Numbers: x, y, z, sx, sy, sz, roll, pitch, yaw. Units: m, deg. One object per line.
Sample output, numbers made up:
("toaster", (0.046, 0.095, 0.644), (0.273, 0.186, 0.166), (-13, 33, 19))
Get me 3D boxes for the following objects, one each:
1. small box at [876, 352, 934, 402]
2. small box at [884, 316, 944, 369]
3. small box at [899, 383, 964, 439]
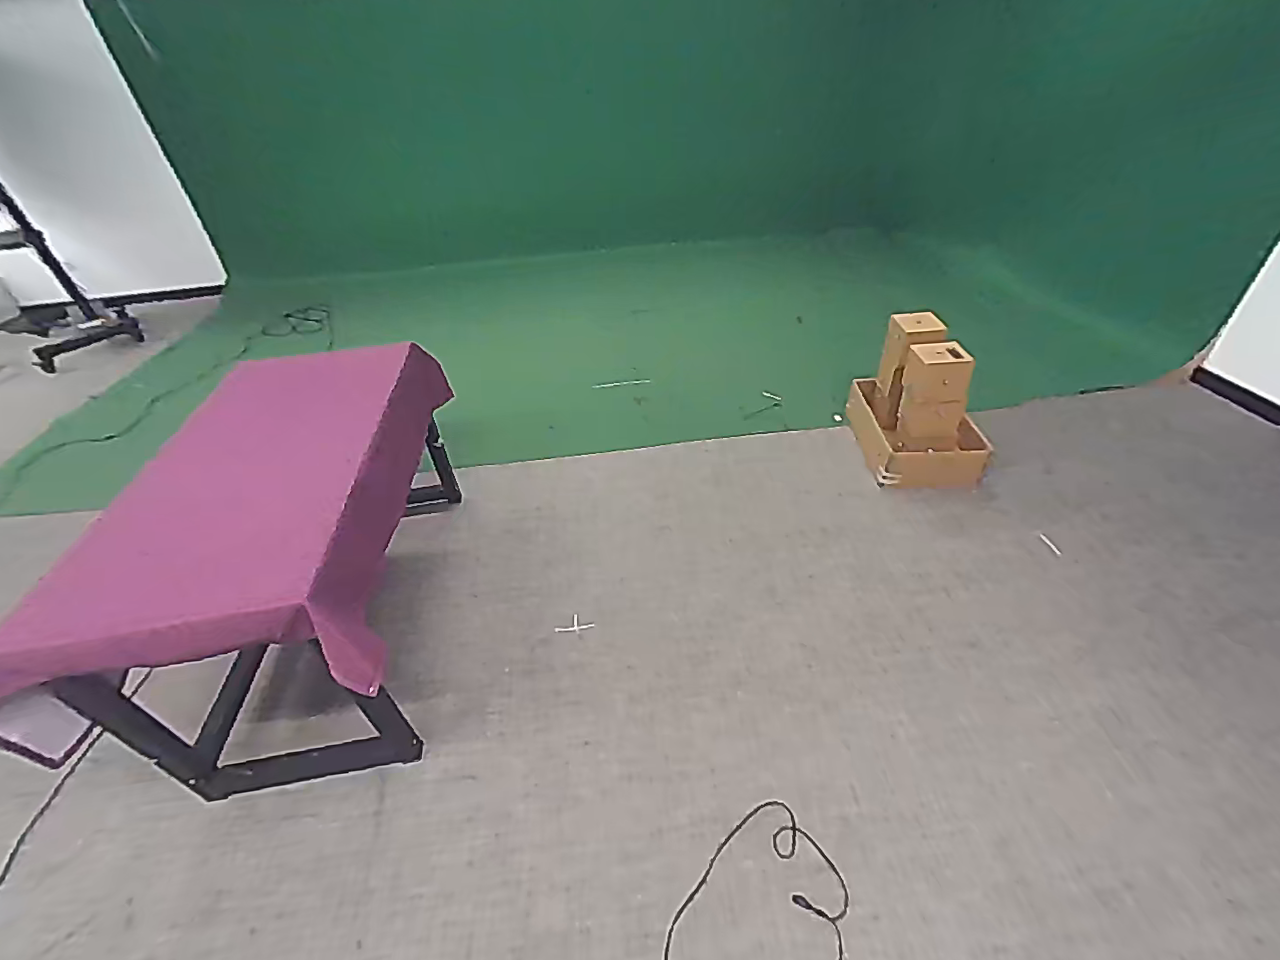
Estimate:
("small box", (1.186, -0.467, 2.431), (0.179, 0.176, 0.168), (-3, 40, 5))
("small box", (1.168, -0.584, 2.316), (0.168, 0.176, 0.179), (-3, 40, 4))
("small box", (1.172, -0.276, 2.192), (0.179, 0.176, 0.168), (-2, 38, 3))
